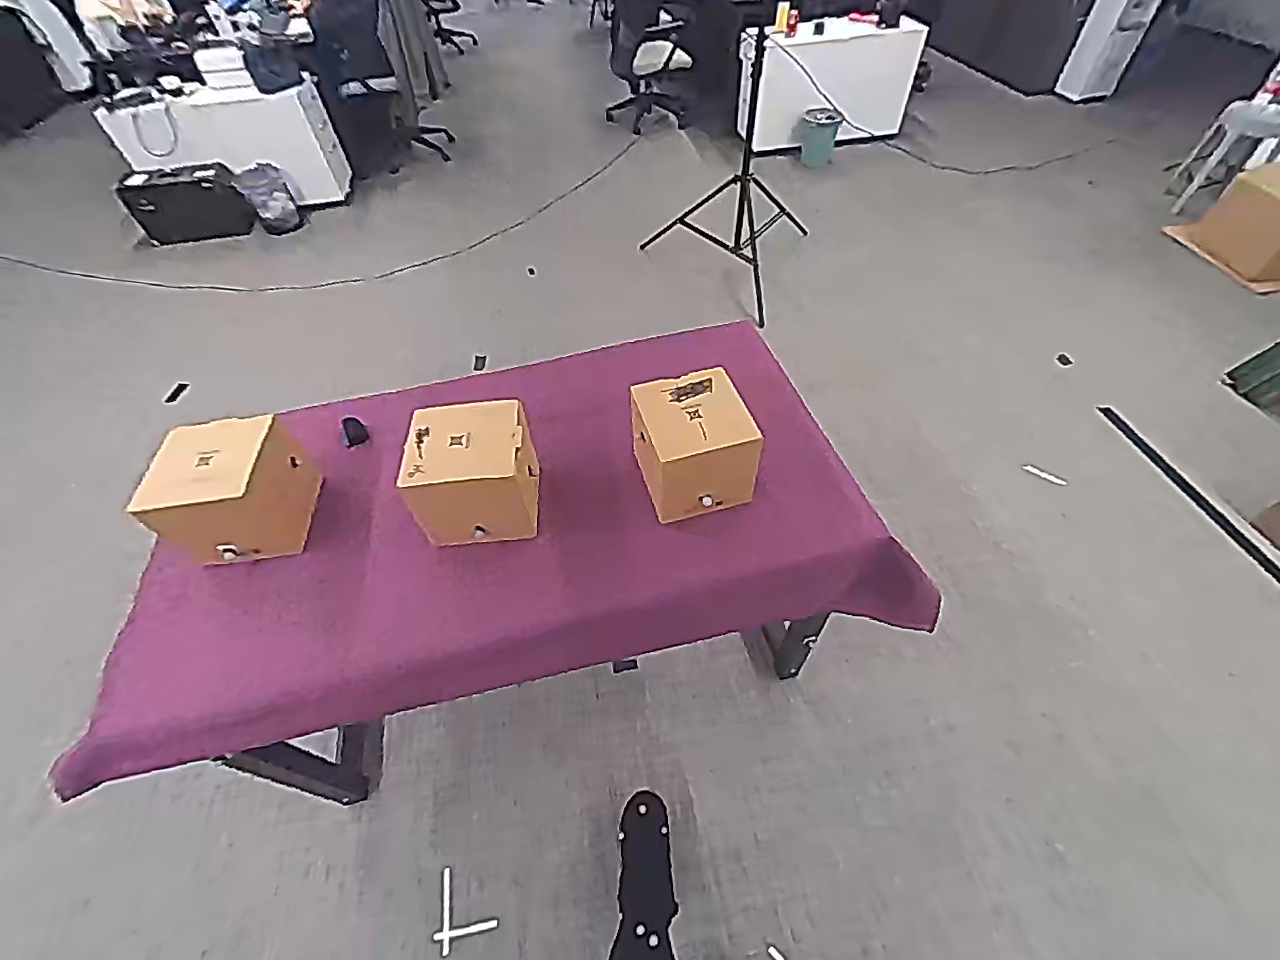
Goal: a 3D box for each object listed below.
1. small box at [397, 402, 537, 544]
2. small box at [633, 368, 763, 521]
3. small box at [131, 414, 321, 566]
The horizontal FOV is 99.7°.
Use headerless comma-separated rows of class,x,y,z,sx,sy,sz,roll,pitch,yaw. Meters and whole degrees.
small box,-0.271,-0.009,0.898,0.179,0.176,0.168,-5,51,-2
small box,0.089,-0.058,0.918,0.168,0.176,0.179,-14,52,-8
small box,-0.662,0.019,0.895,0.168,0.176,0.179,-9,52,-3
